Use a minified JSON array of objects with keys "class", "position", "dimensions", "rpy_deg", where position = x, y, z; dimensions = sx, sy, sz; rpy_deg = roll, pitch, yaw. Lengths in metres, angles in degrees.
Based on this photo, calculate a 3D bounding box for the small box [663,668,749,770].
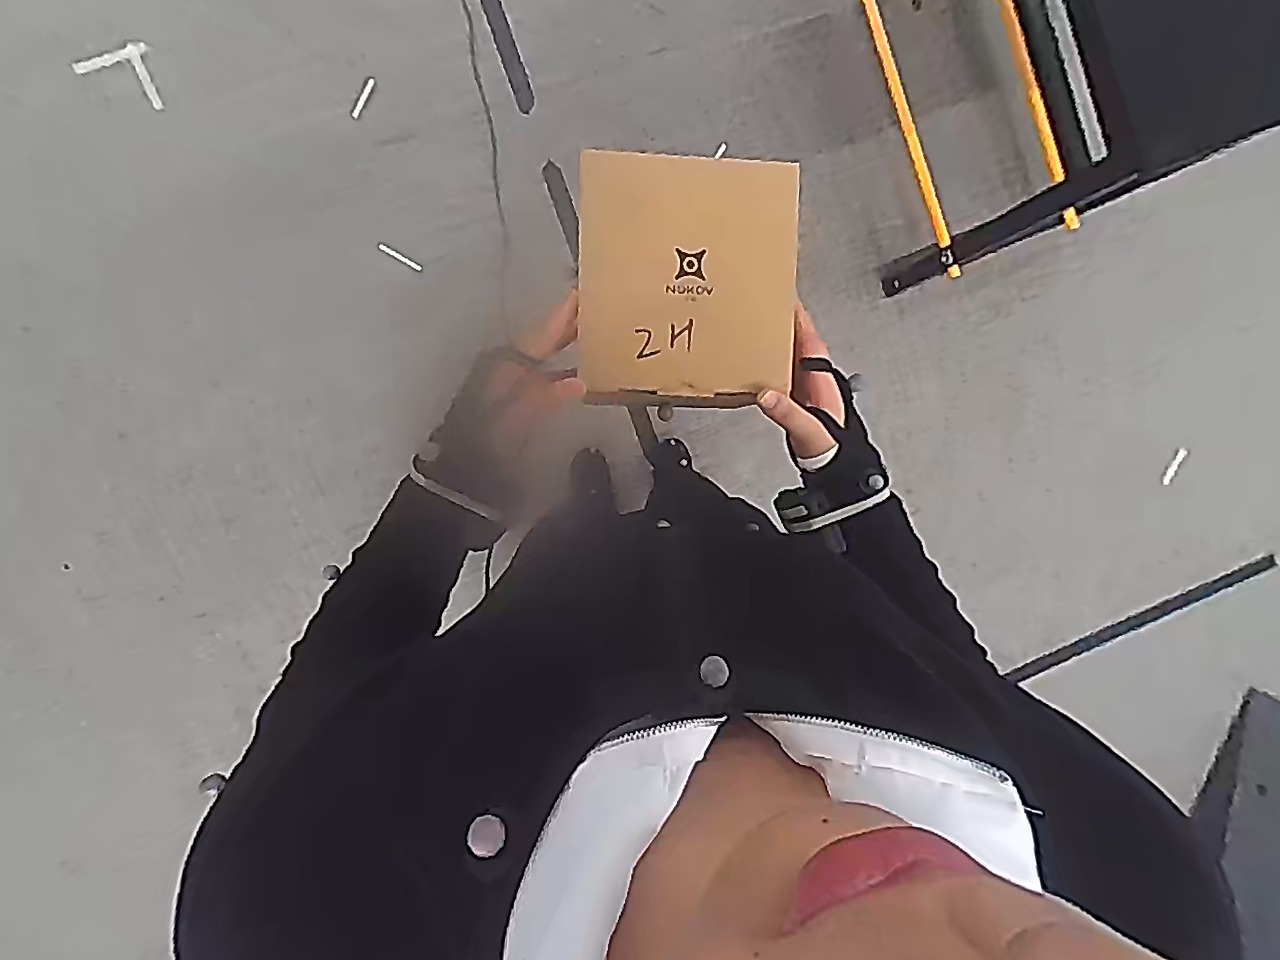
[{"class":"small box","position":[0.172,0.638,1.475],"dimensions":[0.168,0.176,0.179],"rpy_deg":[-22,95,-4]}]

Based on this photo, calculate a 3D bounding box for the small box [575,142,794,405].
[{"class":"small box","position":[0.027,-0.164,0.484],"dimensions":[0.168,0.176,0.179],"rpy_deg":[0,94,-4]}]
